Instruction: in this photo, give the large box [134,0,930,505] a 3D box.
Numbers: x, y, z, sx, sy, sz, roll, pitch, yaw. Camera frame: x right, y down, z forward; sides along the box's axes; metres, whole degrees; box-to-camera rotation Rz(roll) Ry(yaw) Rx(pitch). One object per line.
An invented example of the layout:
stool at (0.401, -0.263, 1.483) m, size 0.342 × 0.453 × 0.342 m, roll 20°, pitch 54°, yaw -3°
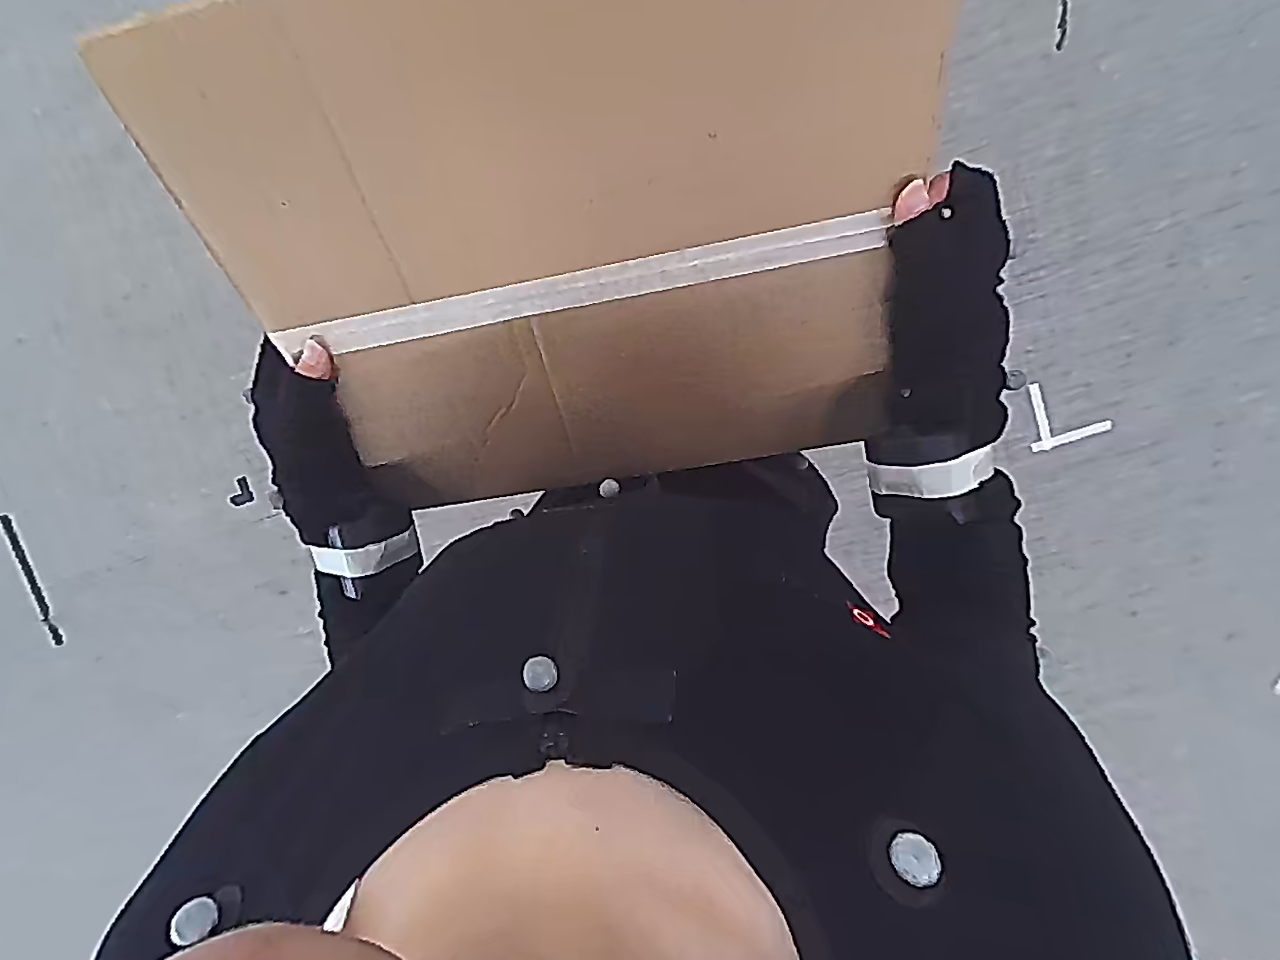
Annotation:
large box at (-0.037, -0.221, 0.457) m, size 0.408 × 0.320 × 0.320 m, roll -9°, pitch 130°, yaw 7°
